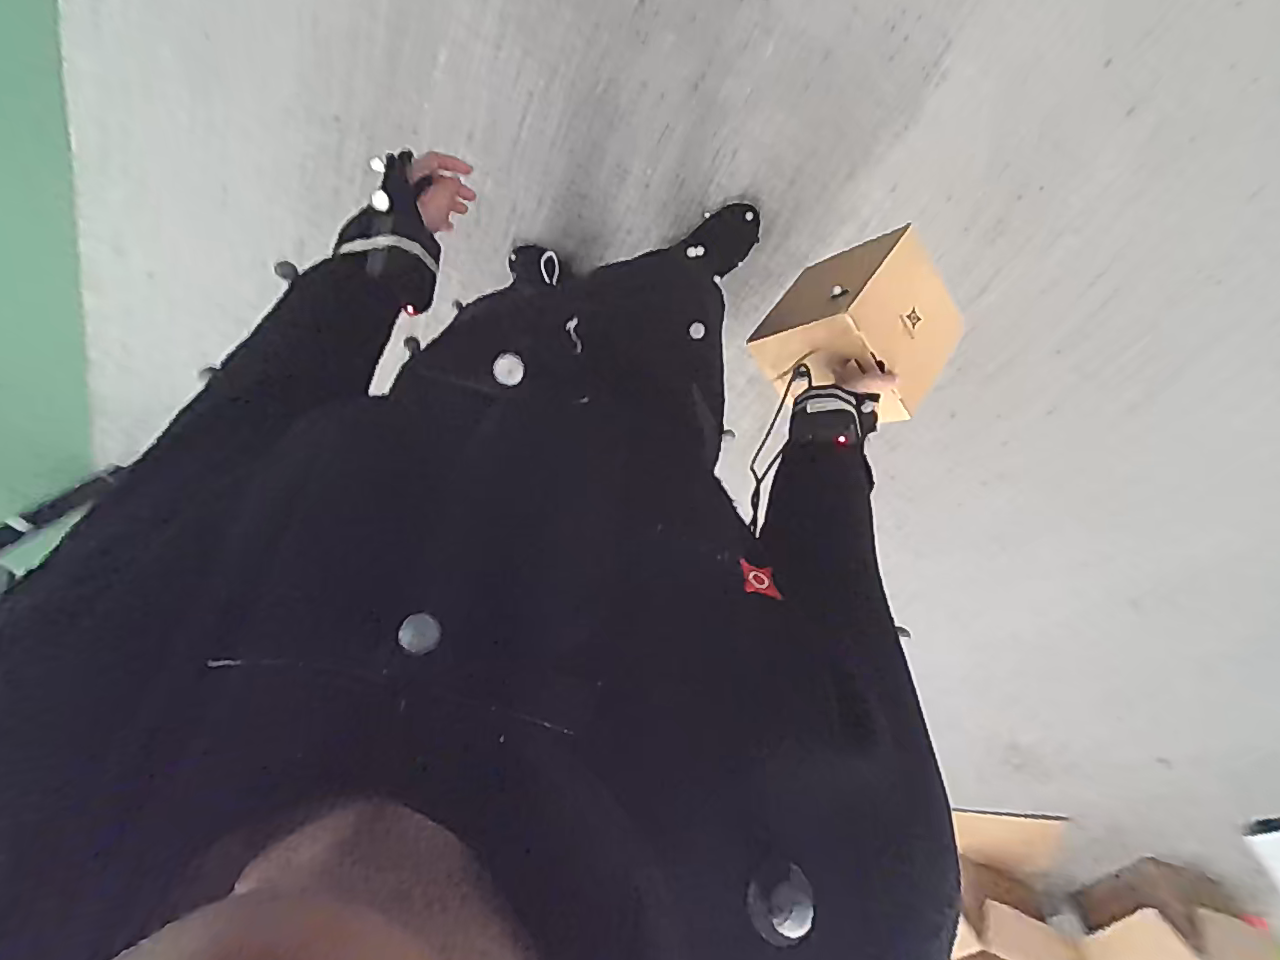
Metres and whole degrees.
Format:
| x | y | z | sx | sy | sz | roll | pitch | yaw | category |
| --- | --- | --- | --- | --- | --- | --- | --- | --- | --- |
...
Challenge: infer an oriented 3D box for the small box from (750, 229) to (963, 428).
| x | y | z | sx | sy | sz | roll | pitch | yaw | category |
| --- | --- | --- | --- | --- | --- | --- | --- | --- | --- |
| 0.279 | -0.186 | 0.712 | 0.168 | 0.179 | 0.176 | 48 | 159 | -23 | small box |
